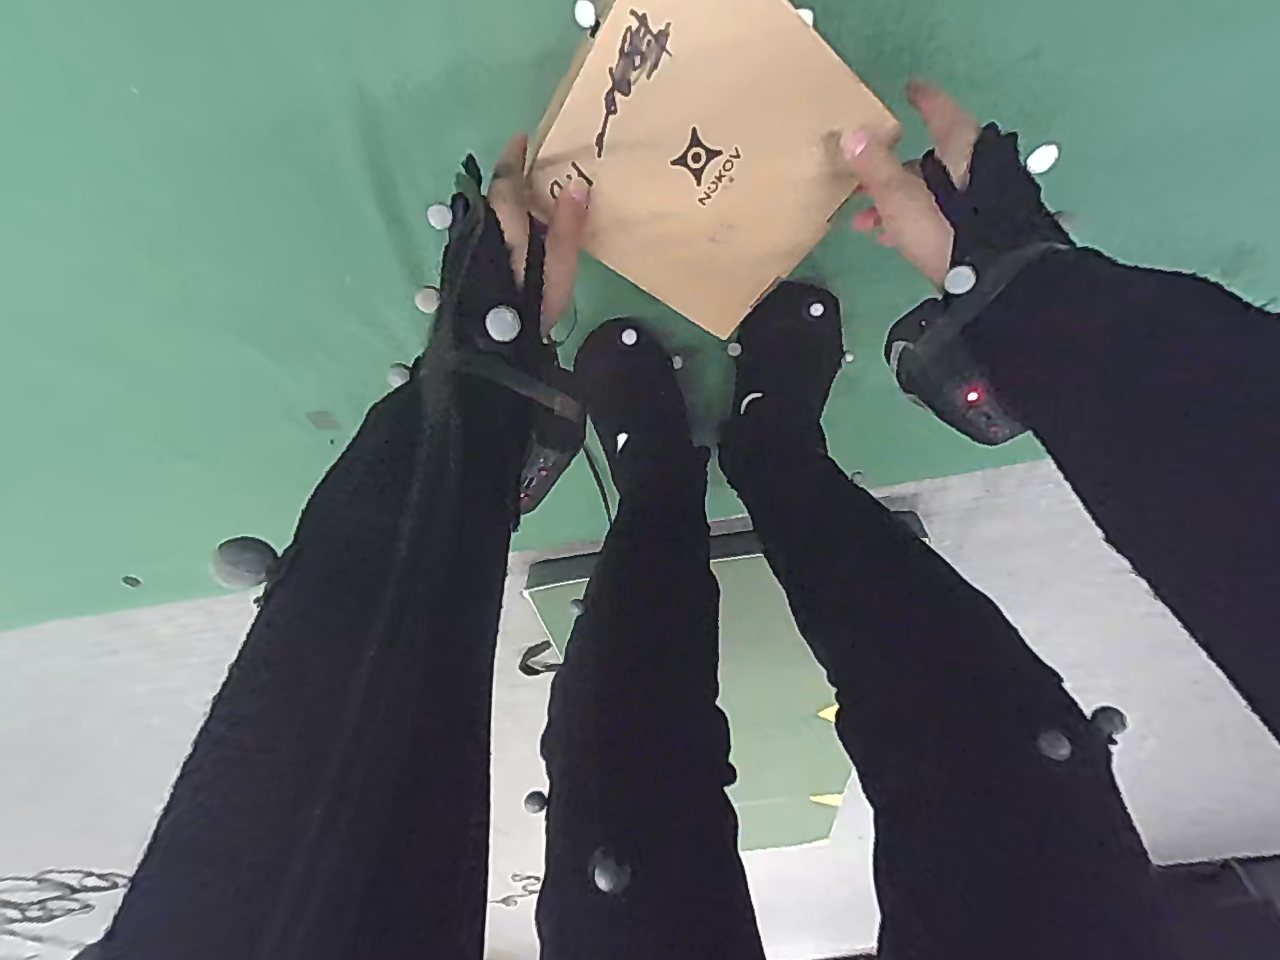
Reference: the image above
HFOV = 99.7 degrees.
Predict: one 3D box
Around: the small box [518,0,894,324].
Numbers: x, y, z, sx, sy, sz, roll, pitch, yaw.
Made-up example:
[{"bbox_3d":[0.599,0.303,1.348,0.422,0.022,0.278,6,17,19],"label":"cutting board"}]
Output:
[{"bbox_3d":[0.034,-0.254,0.386,0.179,0.176,0.168,25,127,-27],"label":"small box"}]
